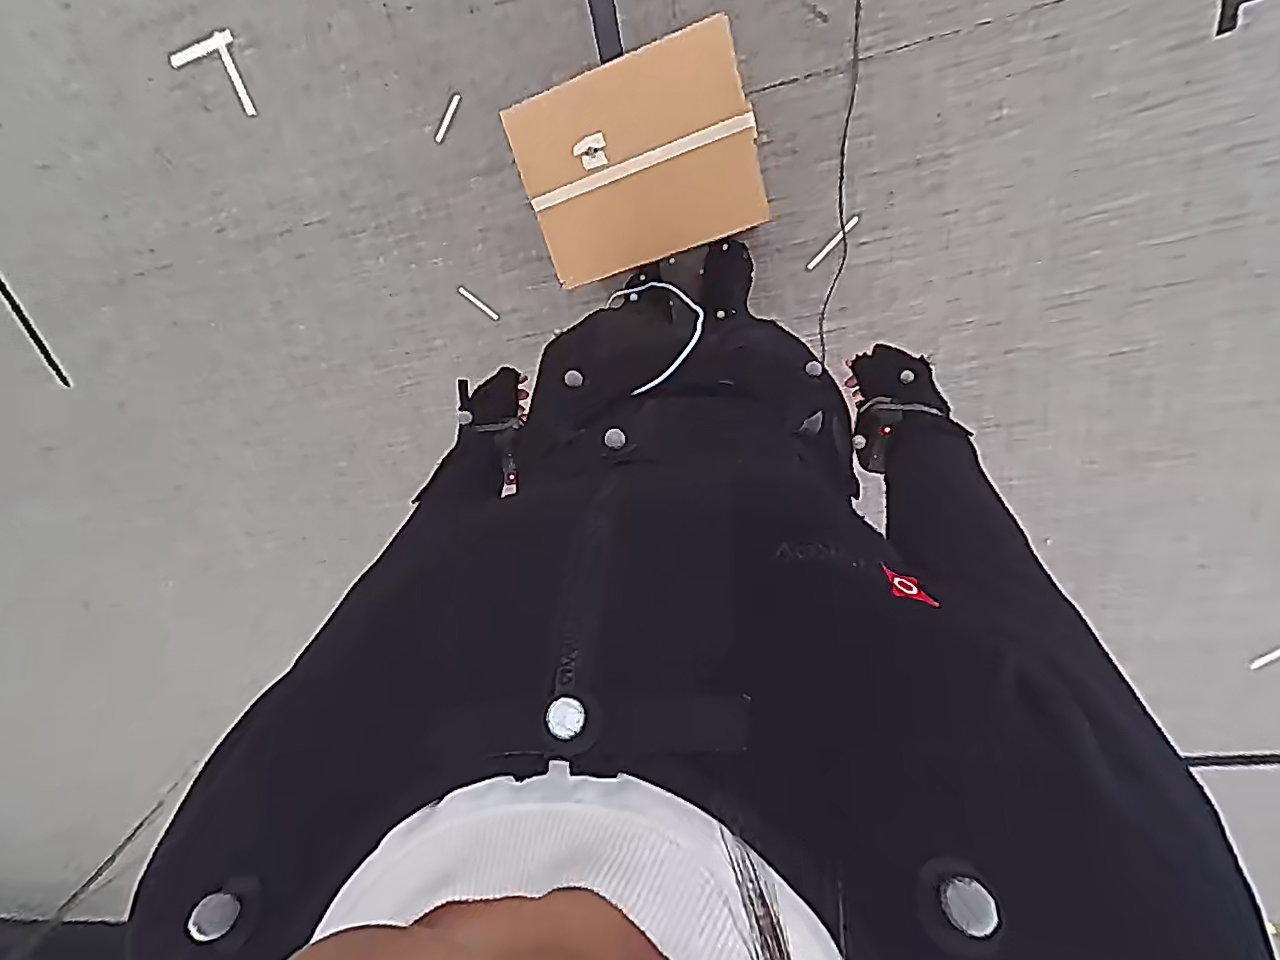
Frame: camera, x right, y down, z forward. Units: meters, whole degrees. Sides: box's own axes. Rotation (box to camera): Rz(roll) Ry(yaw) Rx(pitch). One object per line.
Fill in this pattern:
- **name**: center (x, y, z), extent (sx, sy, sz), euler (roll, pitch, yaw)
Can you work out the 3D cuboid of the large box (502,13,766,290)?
- **large box**: center (0.014, -0.610, 1.074), extent (0.408, 0.320, 0.320), euler (-13, 111, 16)
